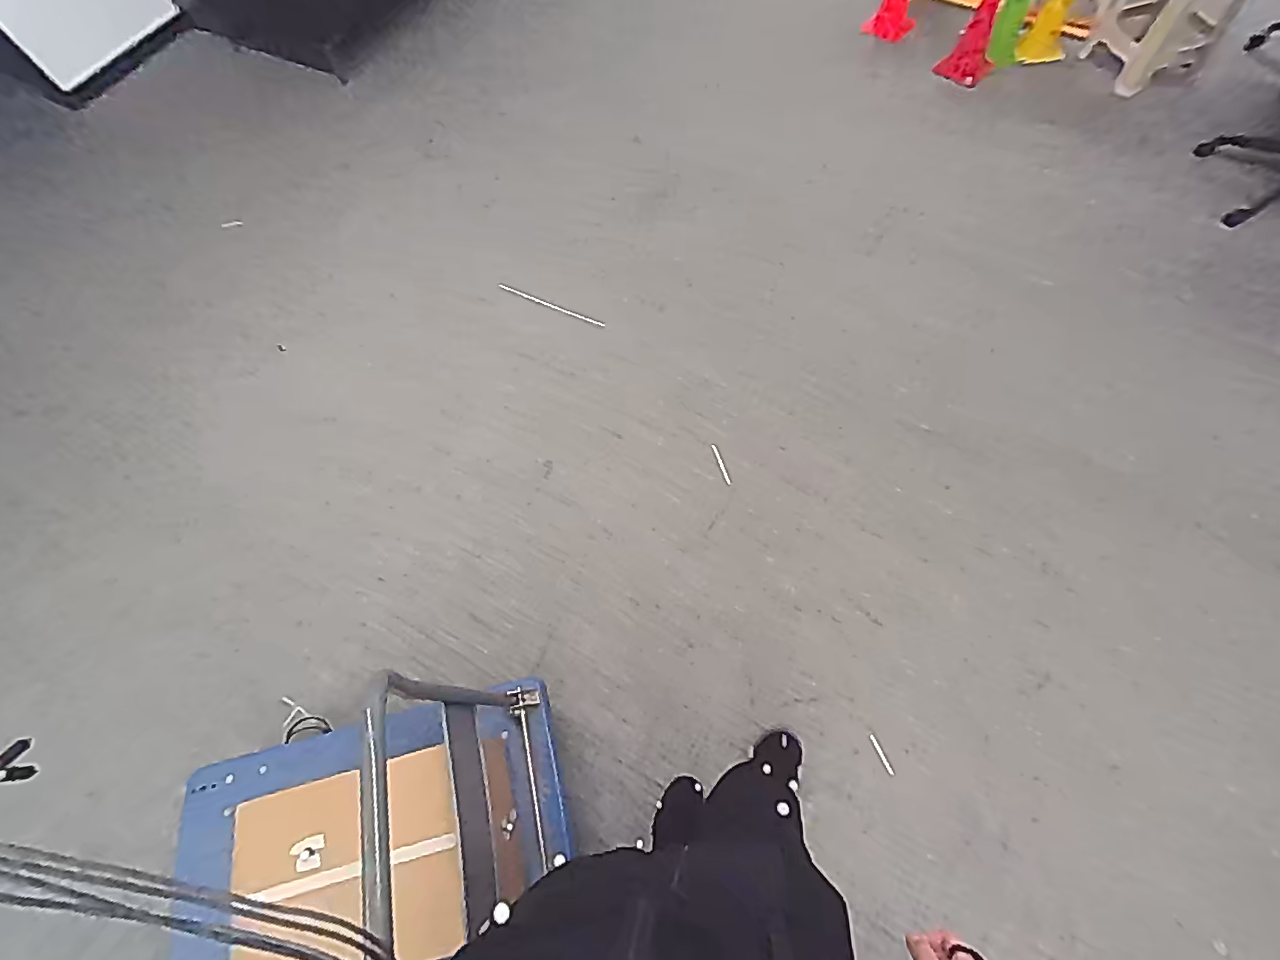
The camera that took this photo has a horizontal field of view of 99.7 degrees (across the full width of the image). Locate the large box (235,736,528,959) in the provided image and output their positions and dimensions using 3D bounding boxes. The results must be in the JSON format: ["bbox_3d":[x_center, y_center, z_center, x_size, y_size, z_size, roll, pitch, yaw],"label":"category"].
[{"bbox_3d":[-0.476,0.725,1.058,0.408,0.320,0.320,-16,65,-1],"label":"large box"}]
